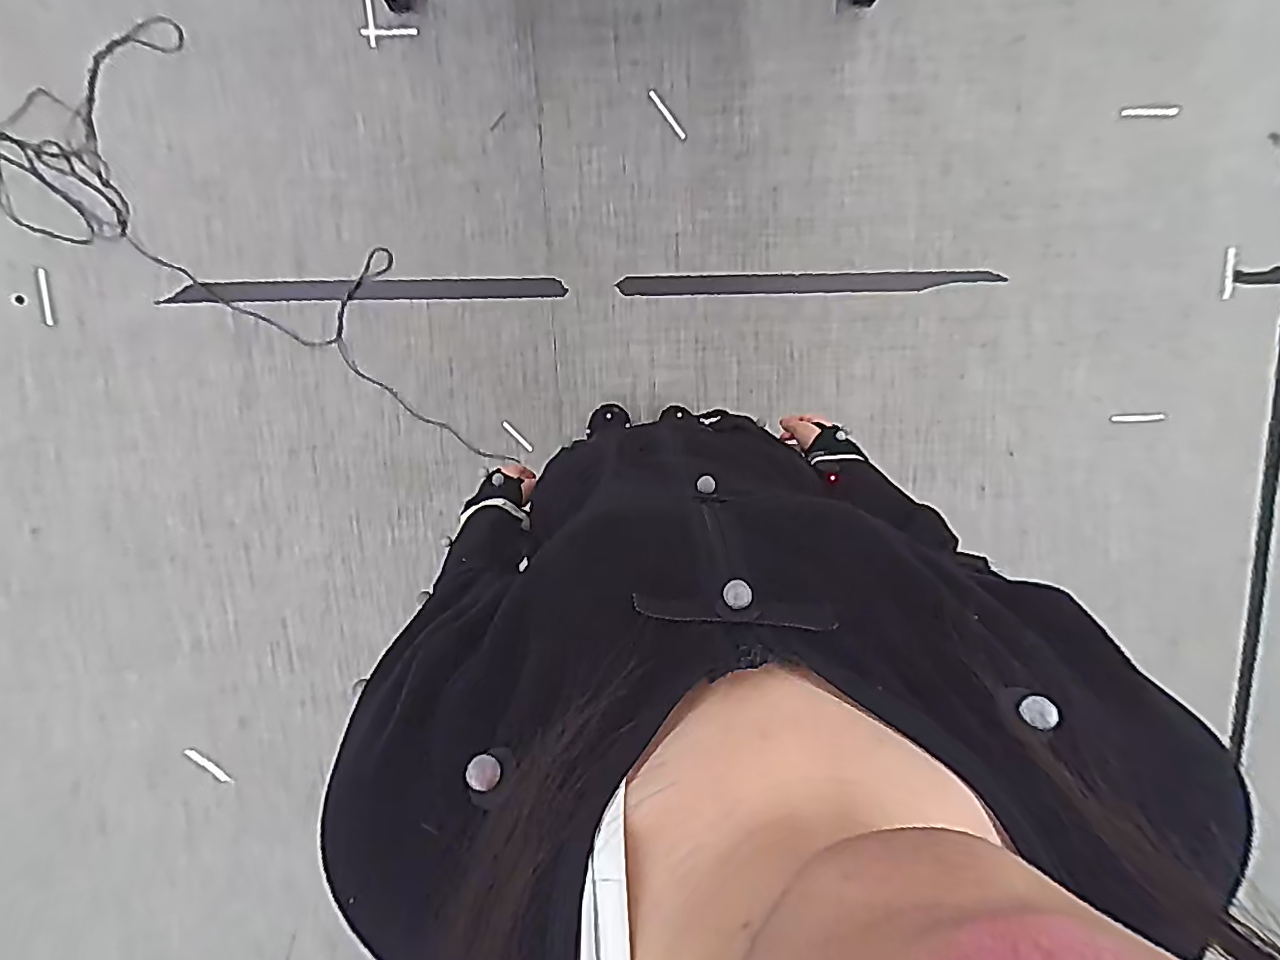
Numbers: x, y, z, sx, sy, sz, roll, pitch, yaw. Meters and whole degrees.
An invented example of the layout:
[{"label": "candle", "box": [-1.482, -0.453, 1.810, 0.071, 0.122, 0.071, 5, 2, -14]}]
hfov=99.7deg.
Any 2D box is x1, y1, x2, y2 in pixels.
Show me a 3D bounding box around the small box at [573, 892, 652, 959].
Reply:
[{"label": "small box", "box": [-0.061, 1.102, 1.258, 0.179, 0.176, 0.168, -4, 96, -1]}]
